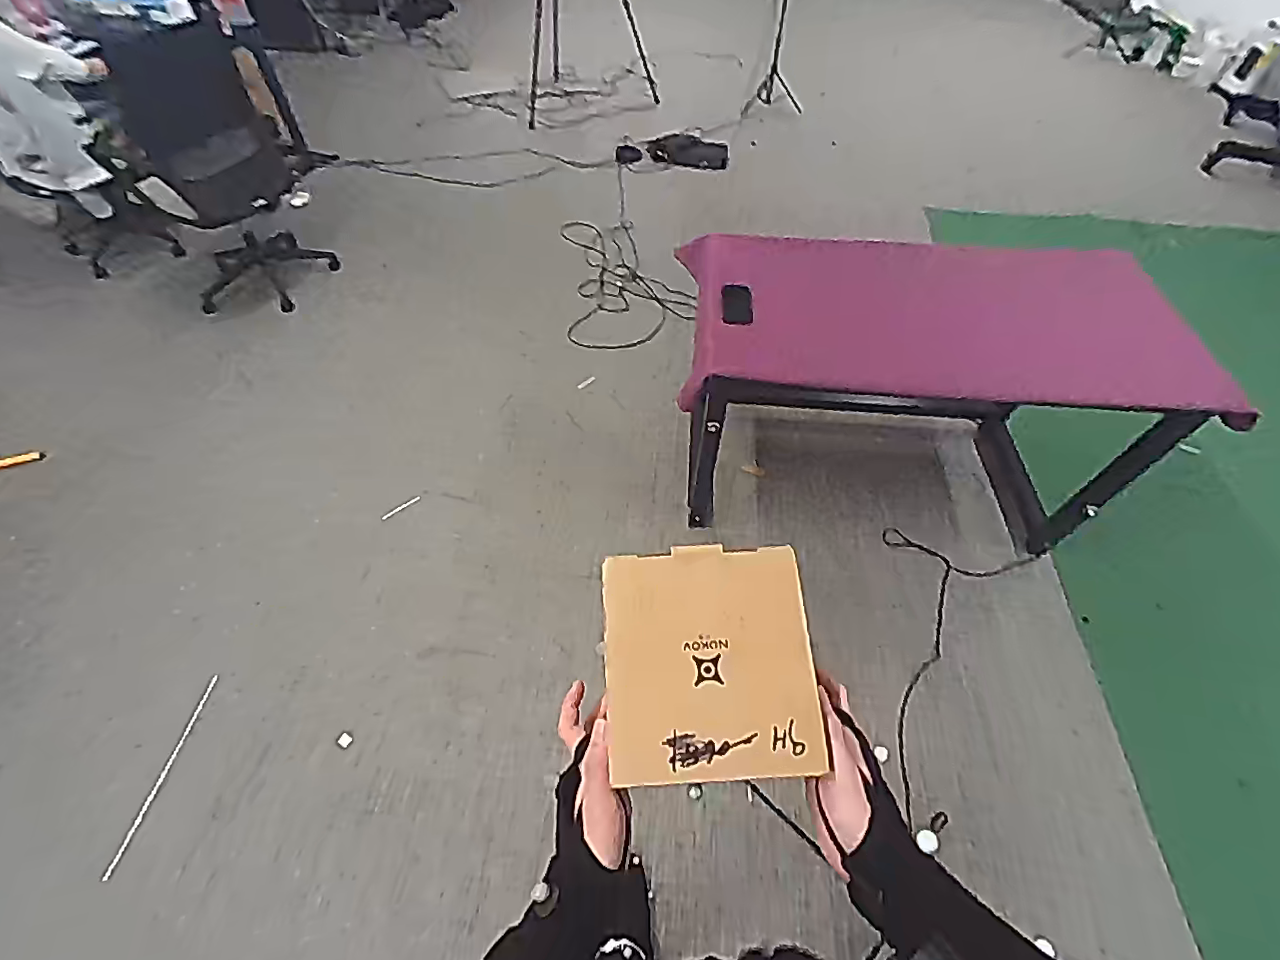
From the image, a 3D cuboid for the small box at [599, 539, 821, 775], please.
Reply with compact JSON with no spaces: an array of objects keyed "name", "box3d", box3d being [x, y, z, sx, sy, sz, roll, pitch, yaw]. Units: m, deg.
[{"name":"small box","box3d":[0.052,0.164,0.504,0.168,0.176,0.179,-4,69,1]}]
